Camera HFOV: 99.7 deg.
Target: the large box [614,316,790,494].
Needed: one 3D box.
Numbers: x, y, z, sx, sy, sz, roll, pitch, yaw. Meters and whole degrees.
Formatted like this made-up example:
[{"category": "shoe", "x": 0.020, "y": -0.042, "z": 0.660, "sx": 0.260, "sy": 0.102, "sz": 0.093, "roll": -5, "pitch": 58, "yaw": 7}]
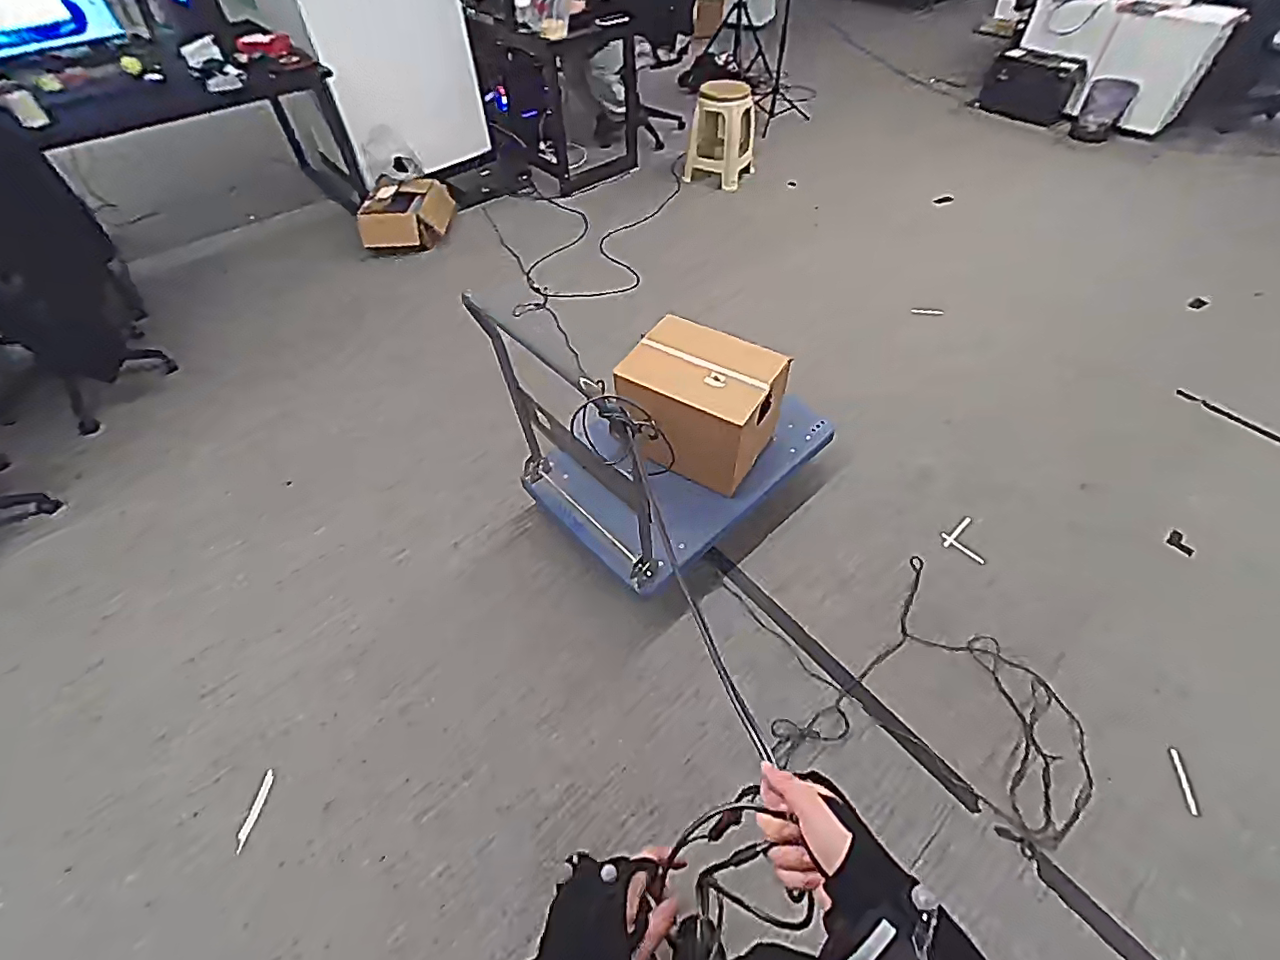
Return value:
[{"category": "large box", "x": 0.173, "y": -0.225, "z": 1.609, "sx": 0.408, "sy": 0.320, "sz": 0.320, "roll": 26, "pitch": 59, "yaw": 20}]
